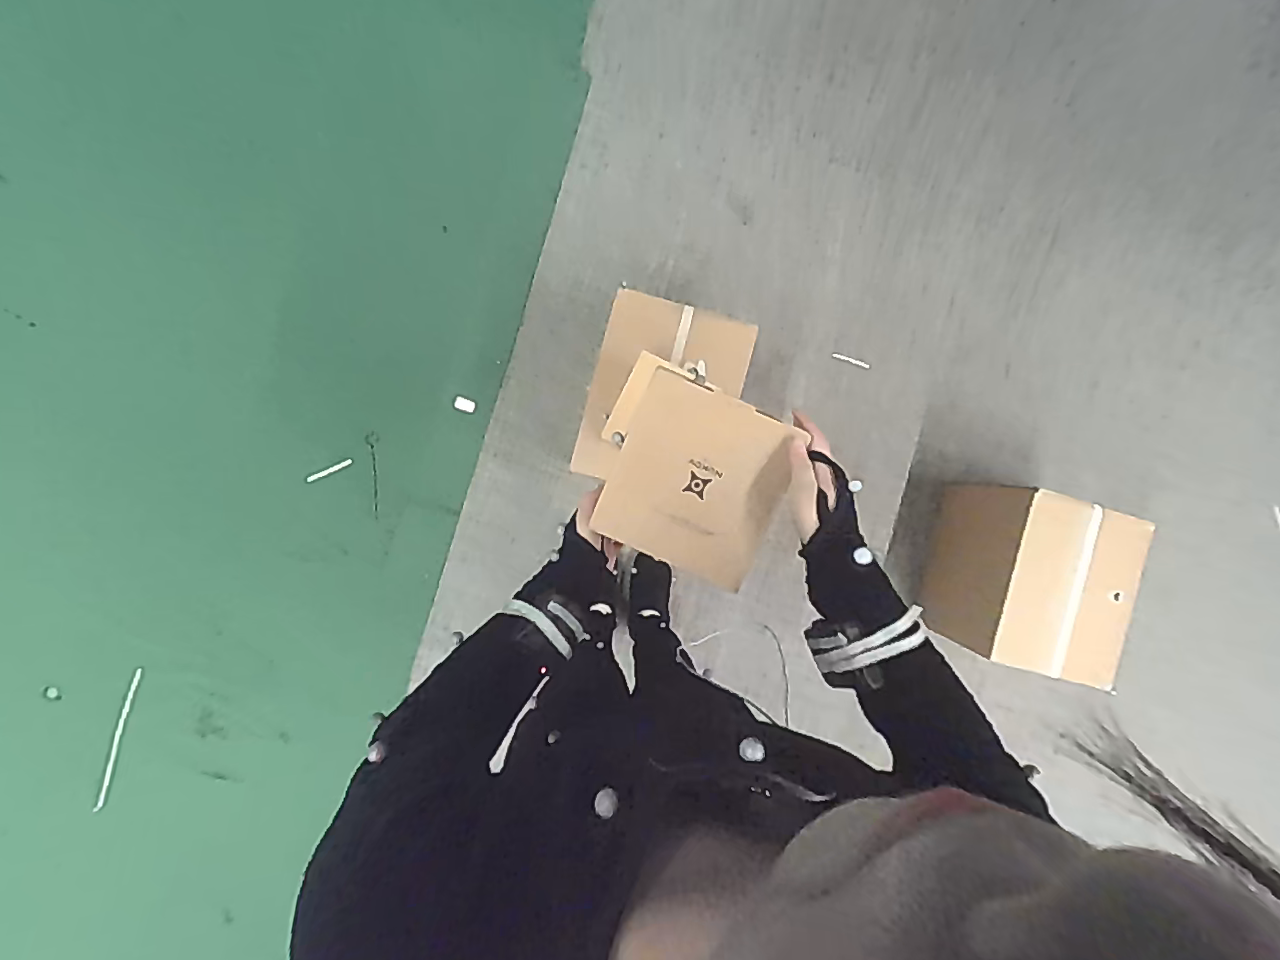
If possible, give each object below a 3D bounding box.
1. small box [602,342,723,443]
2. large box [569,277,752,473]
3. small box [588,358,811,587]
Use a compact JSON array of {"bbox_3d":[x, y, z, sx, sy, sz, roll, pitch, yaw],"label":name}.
[{"bbox_3d":[0.034,-0.137,1.039,0.168,0.176,0.179,26,91,-5],"label":"small box"},{"bbox_3d":[0.033,-0.196,1.281,0.320,0.320,0.408,15,91,-6],"label":"large box"},{"bbox_3d":[0.057,-0.013,0.600,0.168,0.176,0.179,25,96,-1],"label":"small box"}]
